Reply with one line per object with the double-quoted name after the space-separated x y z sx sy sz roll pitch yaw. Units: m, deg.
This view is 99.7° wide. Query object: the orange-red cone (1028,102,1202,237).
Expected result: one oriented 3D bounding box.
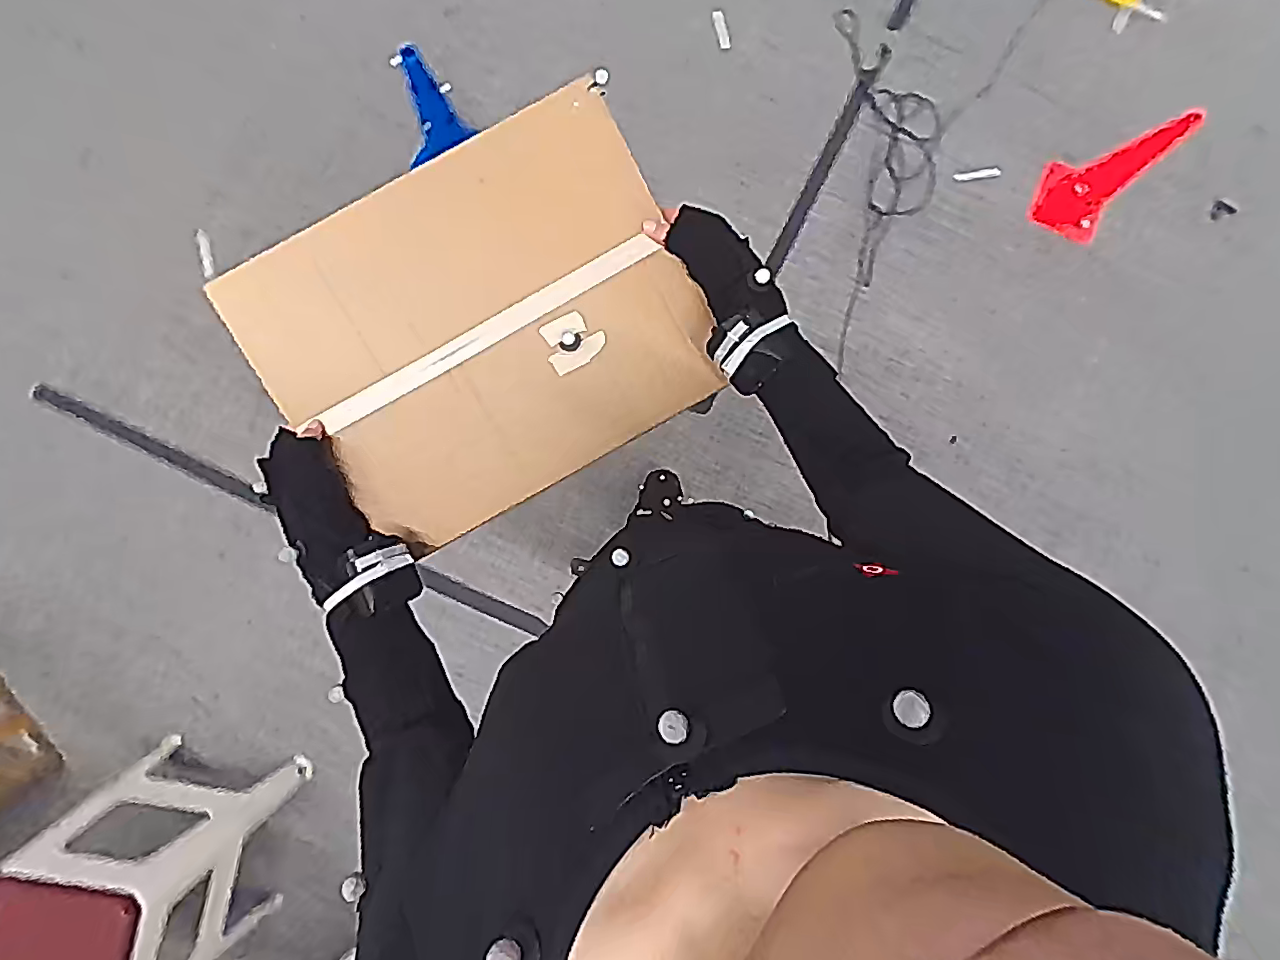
1.261 -0.842 1.415 0.198 0.360 0.199 23 85 -2 "orange-red cone"
